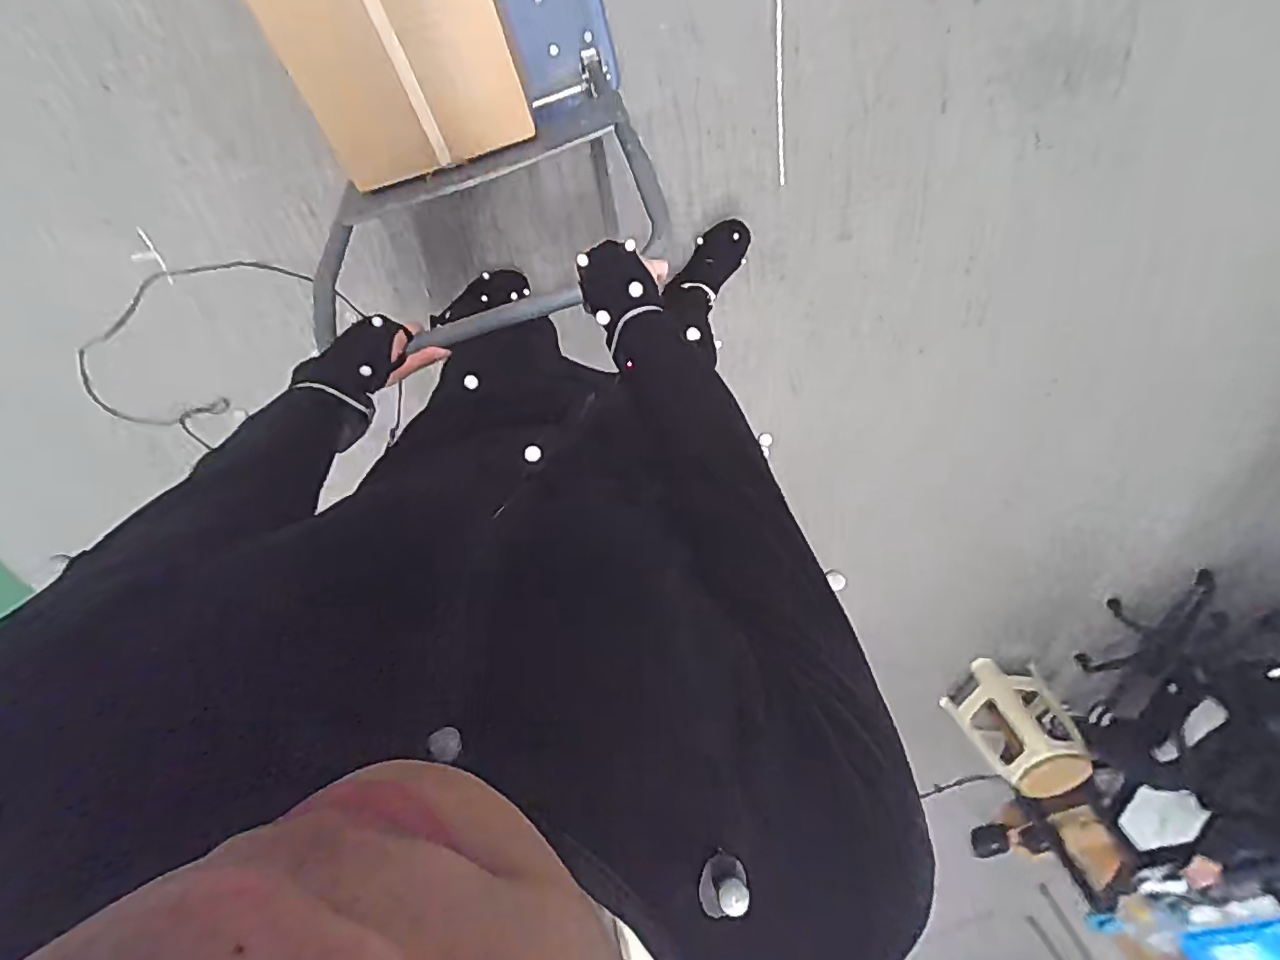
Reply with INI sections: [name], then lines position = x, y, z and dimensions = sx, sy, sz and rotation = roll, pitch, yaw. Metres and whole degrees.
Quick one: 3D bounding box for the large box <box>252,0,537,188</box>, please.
[large box]
position = -0.381, -0.757, 0.844
dimensions = 0.320, 0.320, 0.408
rotation = -16, 137, 3
